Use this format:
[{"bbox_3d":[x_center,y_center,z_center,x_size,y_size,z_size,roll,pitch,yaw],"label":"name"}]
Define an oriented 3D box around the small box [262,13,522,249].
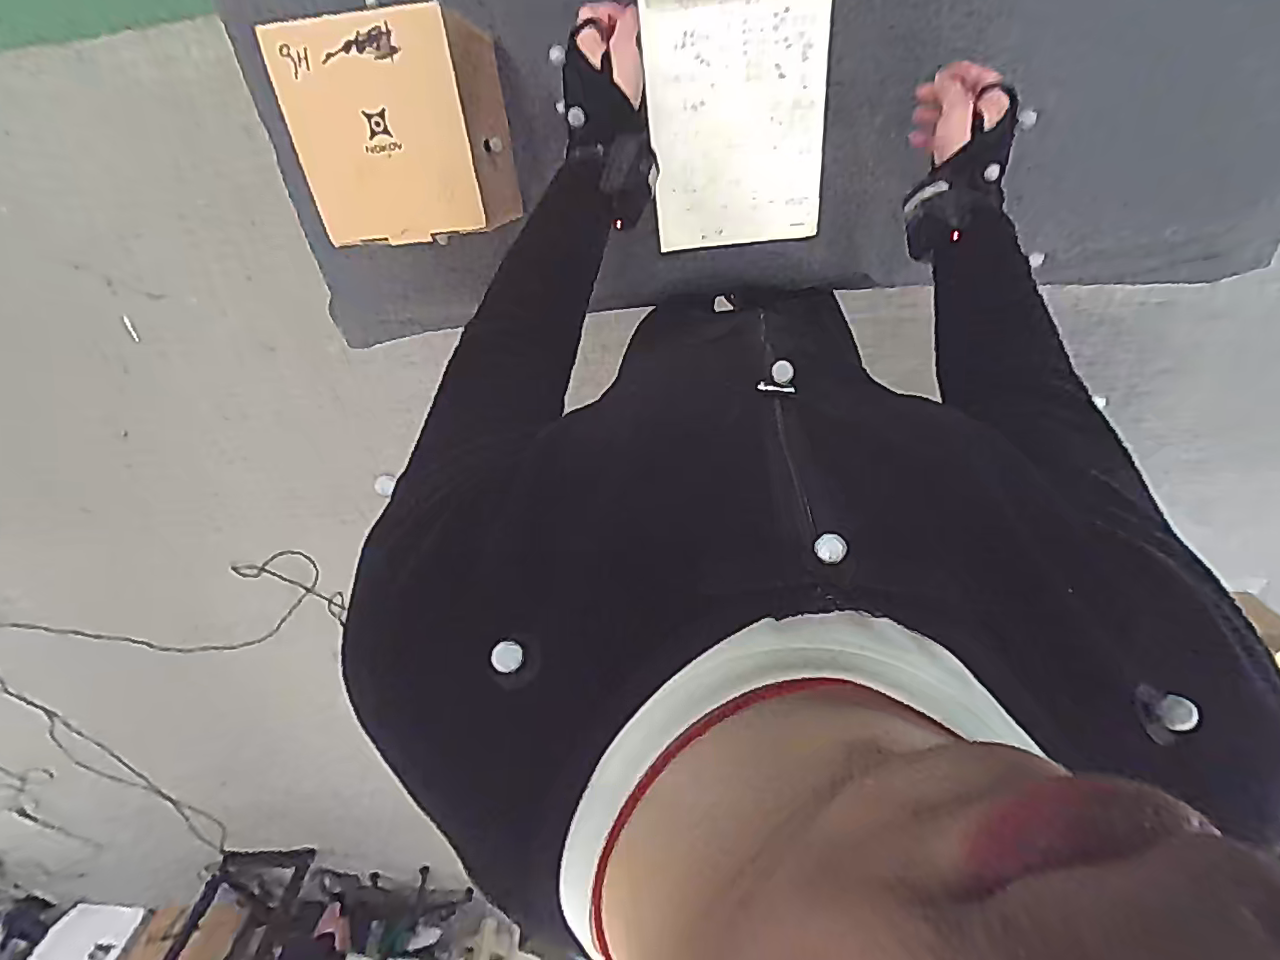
[{"bbox_3d":[-0.234,-0.357,0.570,0.168,0.176,0.179,-3,122,5],"label":"small box"}]
